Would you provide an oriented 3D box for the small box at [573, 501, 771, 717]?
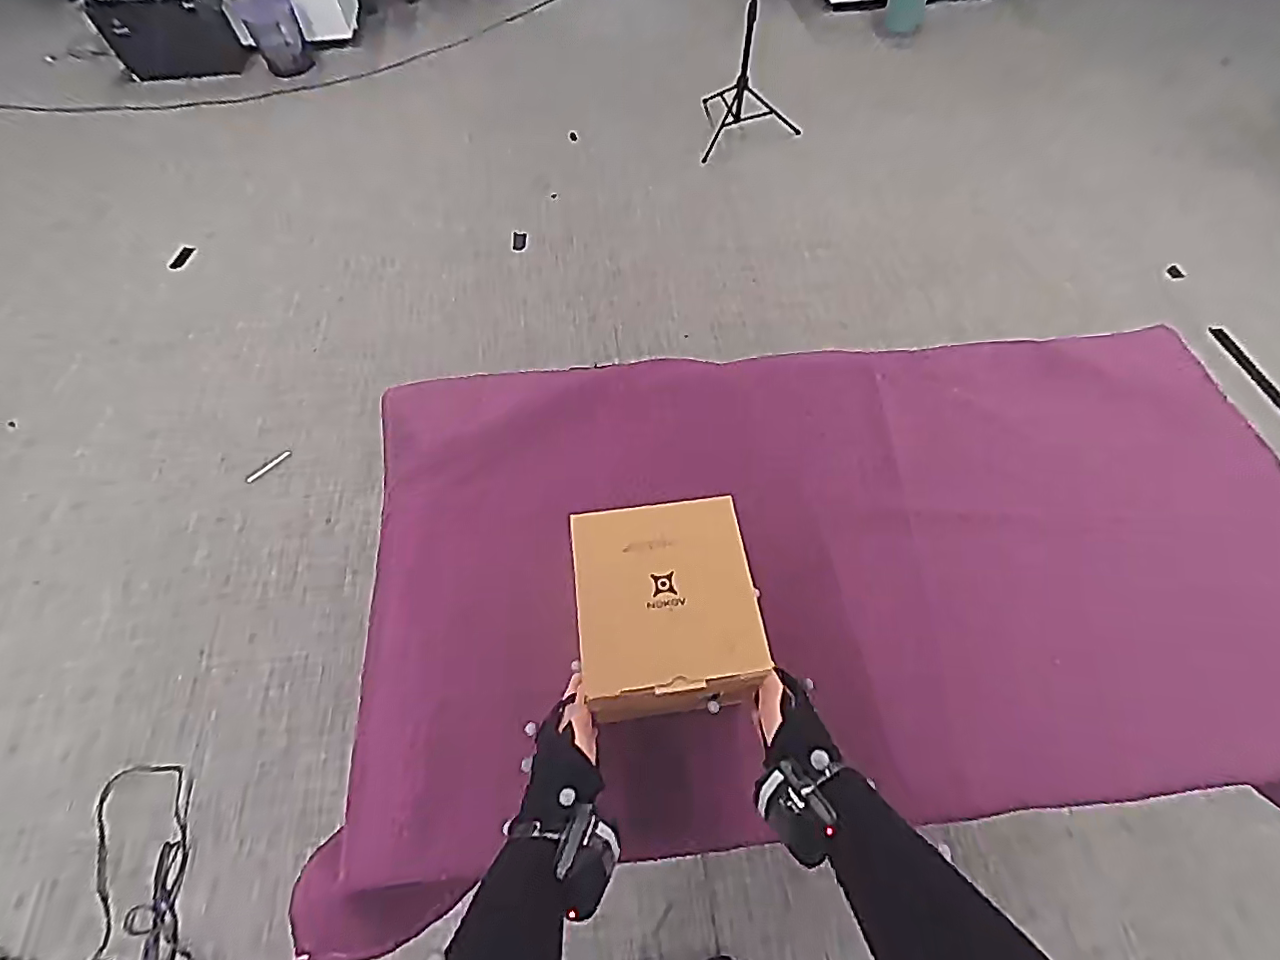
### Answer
[{"bbox_3d":[0.024,0.143,0.567,0.168,0.176,0.179,-6,60,-4],"label":"small box"}]
